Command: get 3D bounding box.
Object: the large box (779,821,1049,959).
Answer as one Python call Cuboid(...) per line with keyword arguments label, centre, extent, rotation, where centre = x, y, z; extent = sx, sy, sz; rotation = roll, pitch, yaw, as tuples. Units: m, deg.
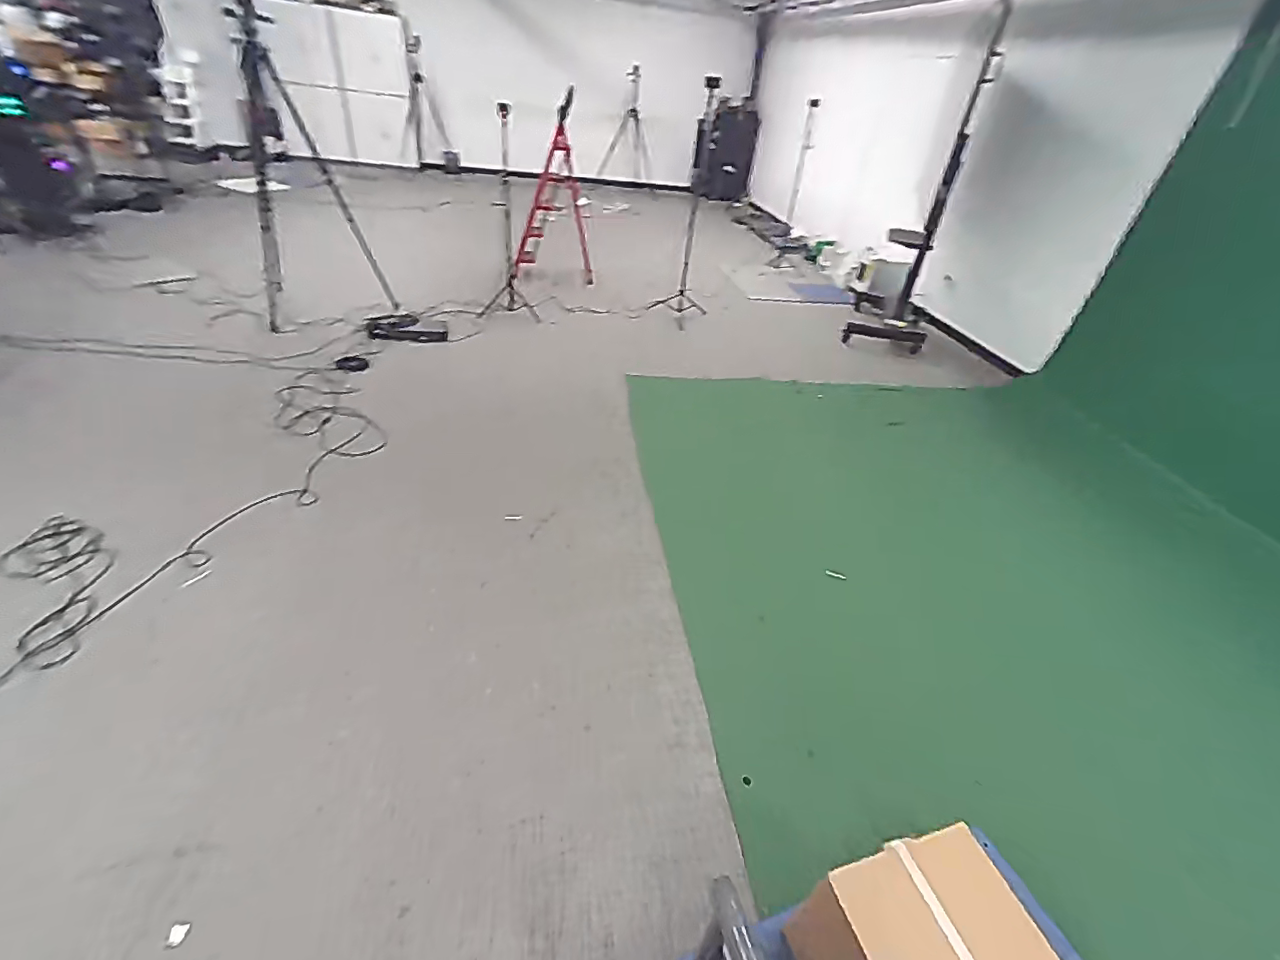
Cuboid(label="large box", centre=(0.504, 0.907, 0.940), extent=(0.320, 0.320, 0.408), rotation=(-6, 39, -17))
